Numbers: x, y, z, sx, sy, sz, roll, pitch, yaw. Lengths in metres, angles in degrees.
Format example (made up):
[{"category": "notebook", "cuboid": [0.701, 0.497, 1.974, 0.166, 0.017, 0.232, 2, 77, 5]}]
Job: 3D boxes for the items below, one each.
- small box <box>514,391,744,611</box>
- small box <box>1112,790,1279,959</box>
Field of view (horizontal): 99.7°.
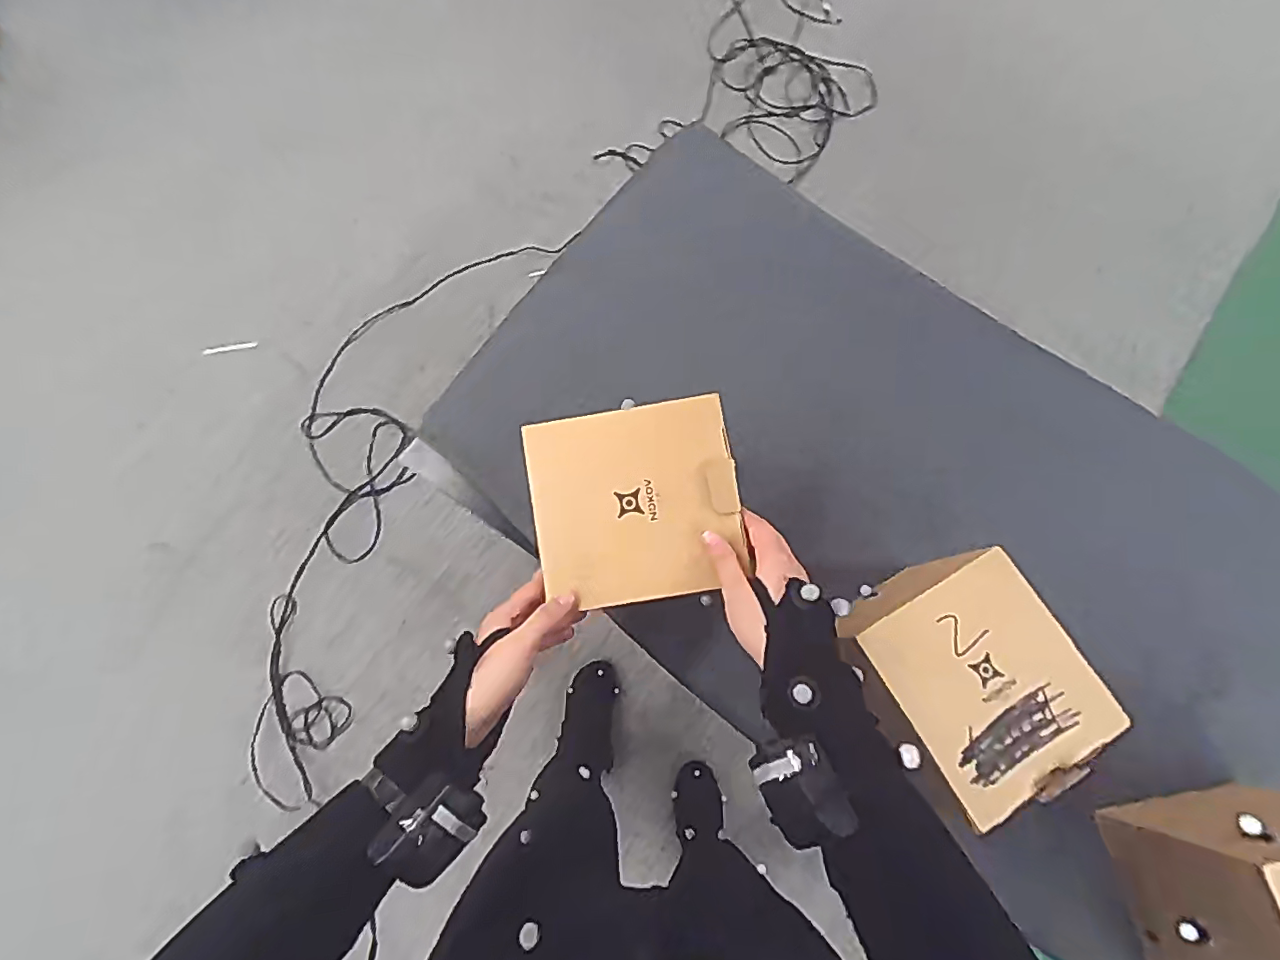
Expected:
[{"category": "small box", "cuboid": [-0.007, 0.027, 0.530, 0.179, 0.176, 0.168, -10, 83, 1]}, {"category": "small box", "cuboid": [0.574, 0.390, 0.474, 0.179, 0.176, 0.168, -7, 72, -3]}]
